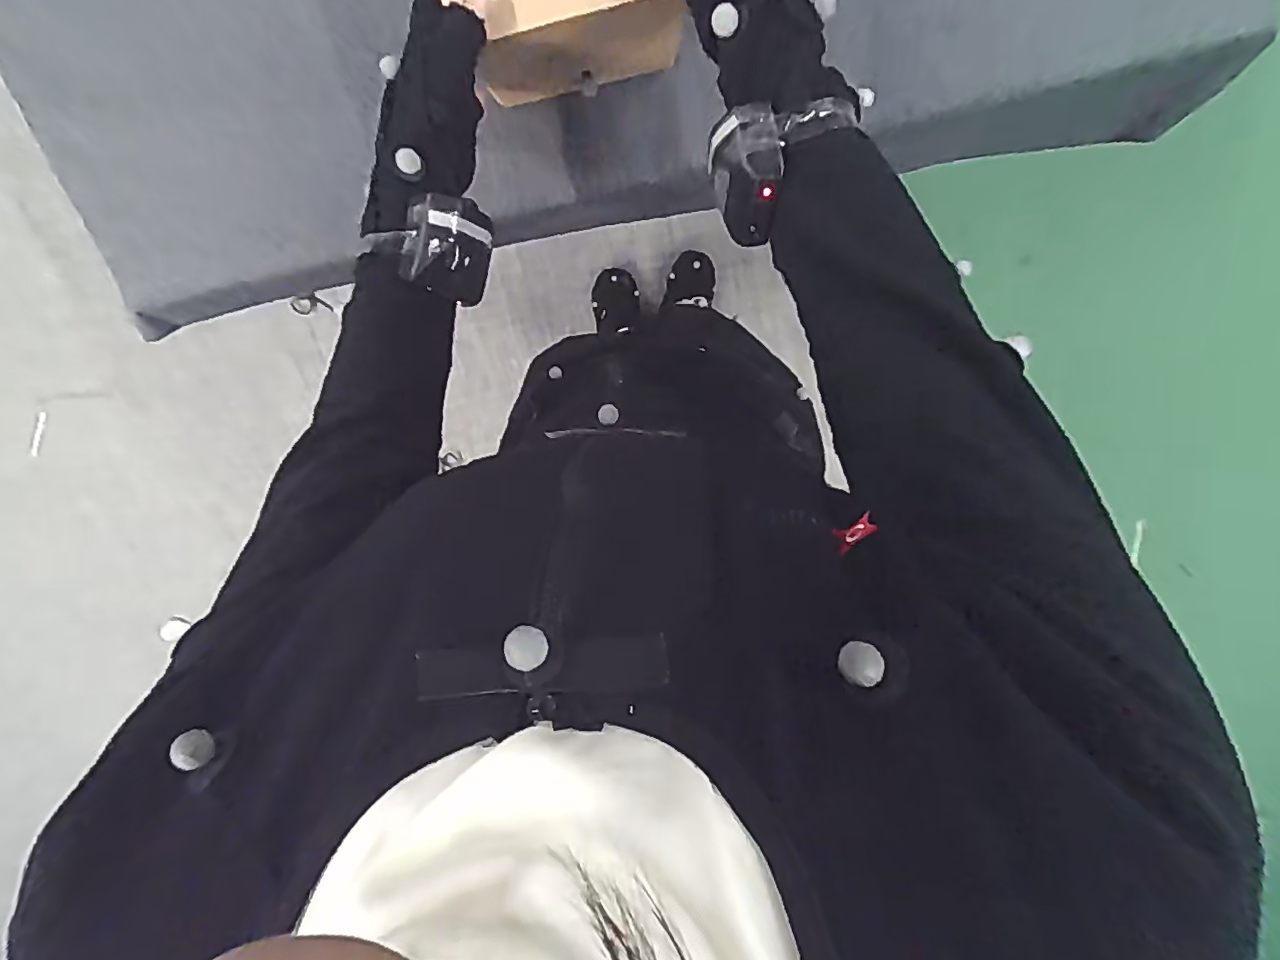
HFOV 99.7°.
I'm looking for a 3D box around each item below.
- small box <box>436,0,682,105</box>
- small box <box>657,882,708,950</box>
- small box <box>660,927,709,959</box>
[{"bbox_3d":[-0.071,-0.429,0.429,0.179,0.176,0.168,-11,112,4],"label":"small box"},{"bbox_3d":[0.165,1.718,2.126,0.179,0.176,0.168,-8,112,4],"label":"small box"},{"bbox_3d":[0.169,1.788,1.979,0.168,0.176,0.179,-11,111,2],"label":"small box"}]
